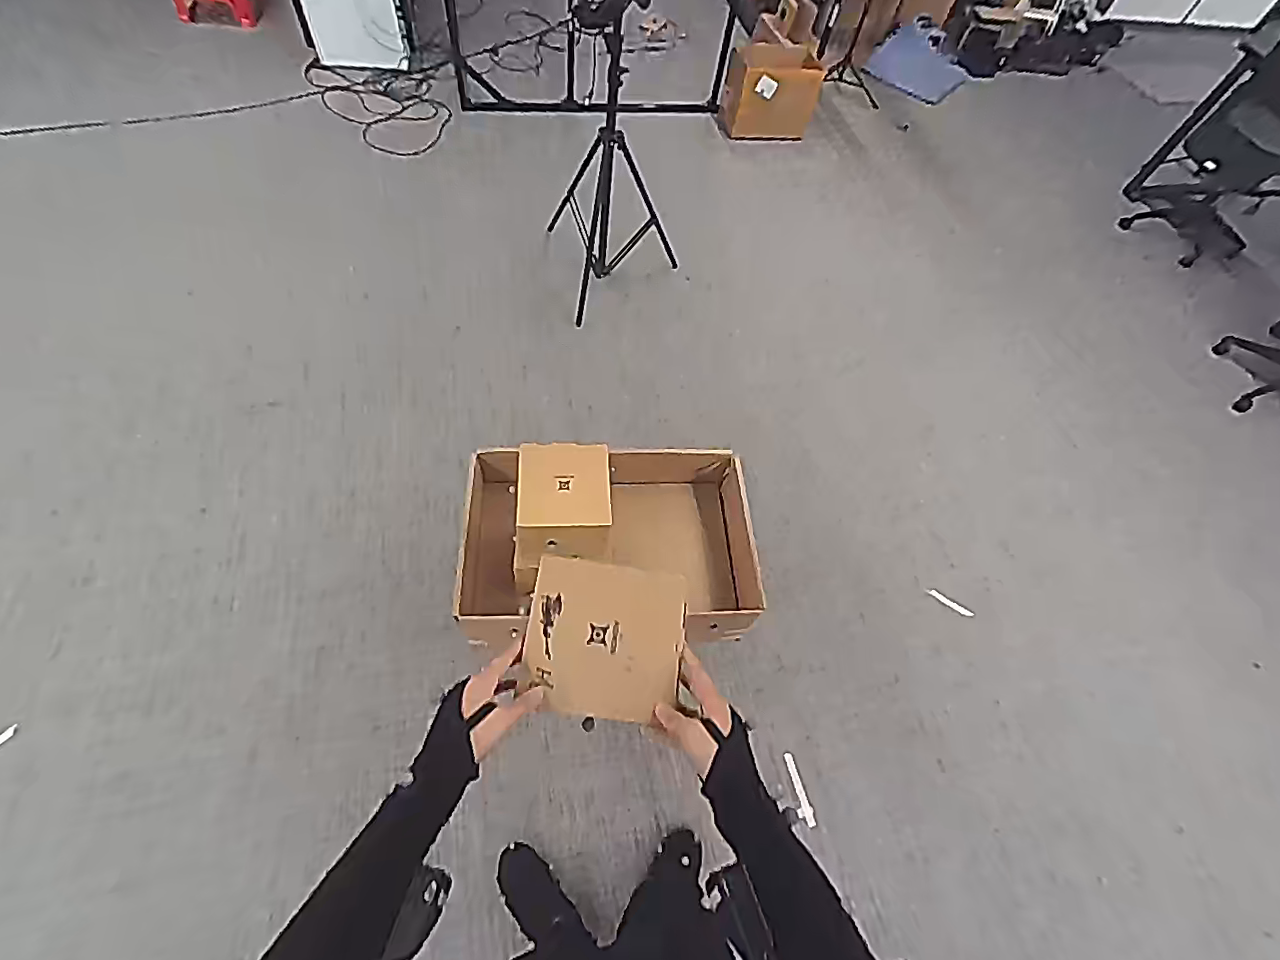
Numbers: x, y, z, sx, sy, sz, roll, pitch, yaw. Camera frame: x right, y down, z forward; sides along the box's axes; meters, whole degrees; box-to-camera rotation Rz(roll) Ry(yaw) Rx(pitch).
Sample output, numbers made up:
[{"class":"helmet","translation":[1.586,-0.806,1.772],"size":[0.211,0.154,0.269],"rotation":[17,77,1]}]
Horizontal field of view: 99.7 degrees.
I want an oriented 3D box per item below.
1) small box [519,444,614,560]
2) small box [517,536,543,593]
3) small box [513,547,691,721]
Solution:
[{"class":"small box","translation":[-0.140,0.049,1.039],"size":[0.168,0.176,0.179],"rotation":[0,58,-9]},{"class":"small box","translation":[-0.168,0.143,1.170],"size":[0.168,0.176,0.179],"rotation":[3,58,-6]},{"class":"small box","translation":[-0.047,0.195,0.671],"size":[0.179,0.176,0.168],"rotation":[10,66,-4]}]
